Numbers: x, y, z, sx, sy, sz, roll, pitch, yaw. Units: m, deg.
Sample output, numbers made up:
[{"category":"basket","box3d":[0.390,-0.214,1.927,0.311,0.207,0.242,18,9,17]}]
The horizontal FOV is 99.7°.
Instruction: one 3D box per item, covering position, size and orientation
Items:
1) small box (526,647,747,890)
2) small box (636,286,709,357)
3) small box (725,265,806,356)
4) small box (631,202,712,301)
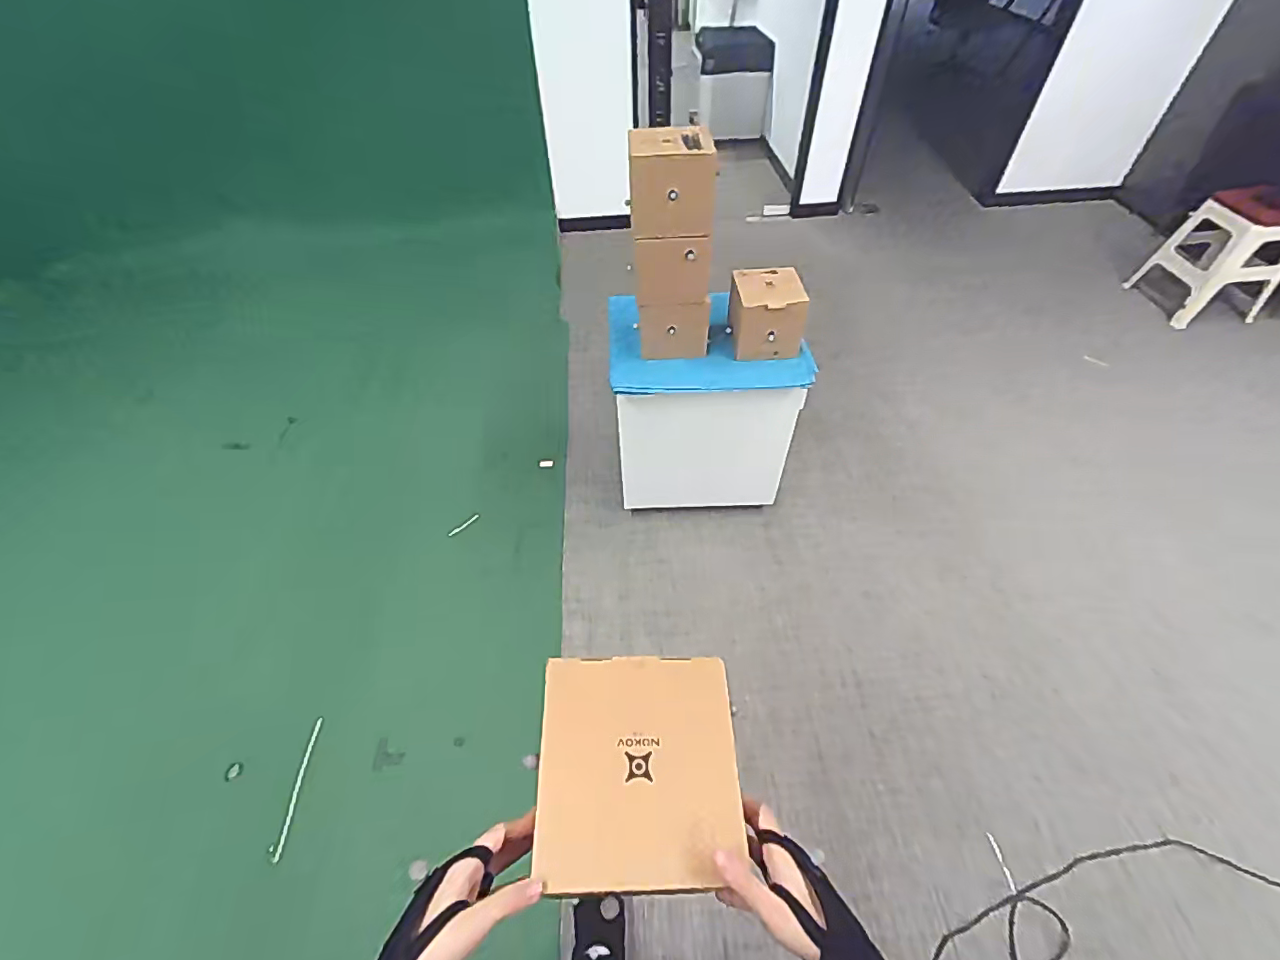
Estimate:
[{"category":"small box","box3d":[-0.007,0.272,0.506,0.168,0.176,0.179,1,50,-4]},{"category":"small box","box3d":[0.080,-0.442,1.429,0.179,0.176,0.168,-3,49,-1]},{"category":"small box","box3d":[0.323,-0.440,1.422,0.168,0.176,0.179,-3,50,-1]},{"category":"small box","box3d":[0.068,-0.548,1.303,0.179,0.176,0.168,-3,49,-1]}]
